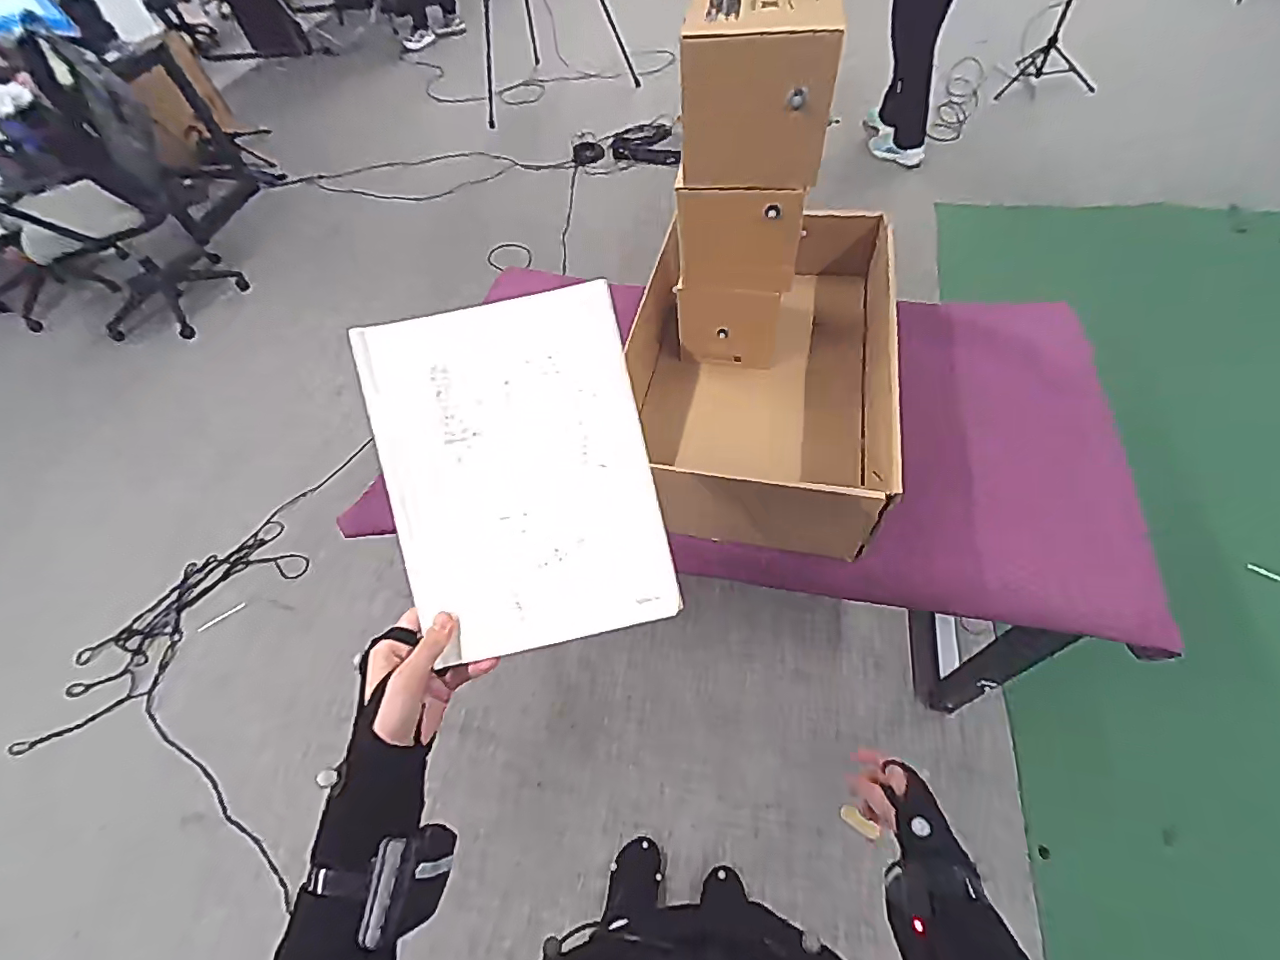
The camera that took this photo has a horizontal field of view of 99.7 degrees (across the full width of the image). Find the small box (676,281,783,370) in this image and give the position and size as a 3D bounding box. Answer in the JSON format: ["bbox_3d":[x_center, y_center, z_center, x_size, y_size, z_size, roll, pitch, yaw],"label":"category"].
[{"bbox_3d":[0.166,-0.317,0.961,0.168,0.176,0.179,8,59,12],"label":"small box"}]

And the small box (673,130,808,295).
[{"bbox_3d":[0.152,-0.402,0.824,0.179,0.176,0.168,6,58,11],"label":"small box"}]
